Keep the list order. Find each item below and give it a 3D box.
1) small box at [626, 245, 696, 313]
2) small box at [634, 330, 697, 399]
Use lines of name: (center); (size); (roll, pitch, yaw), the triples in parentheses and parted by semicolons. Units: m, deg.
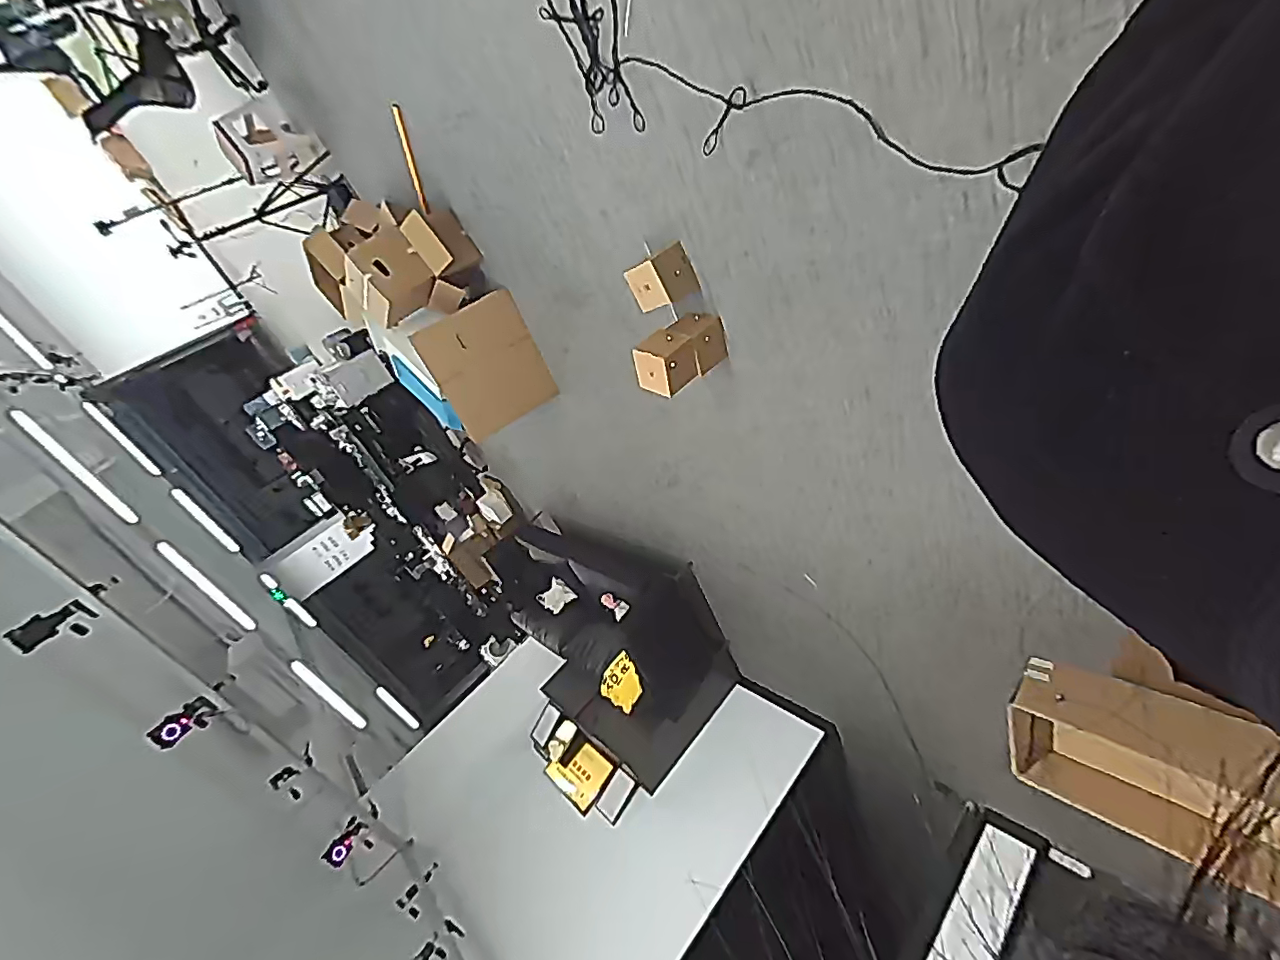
small box: (0.086, -0.756, 2.032); (0.179, 0.176, 0.168); (4, 130, 55)
small box: (0.104, -0.445, 2.065); (0.168, 0.176, 0.179); (27, 146, 37)
